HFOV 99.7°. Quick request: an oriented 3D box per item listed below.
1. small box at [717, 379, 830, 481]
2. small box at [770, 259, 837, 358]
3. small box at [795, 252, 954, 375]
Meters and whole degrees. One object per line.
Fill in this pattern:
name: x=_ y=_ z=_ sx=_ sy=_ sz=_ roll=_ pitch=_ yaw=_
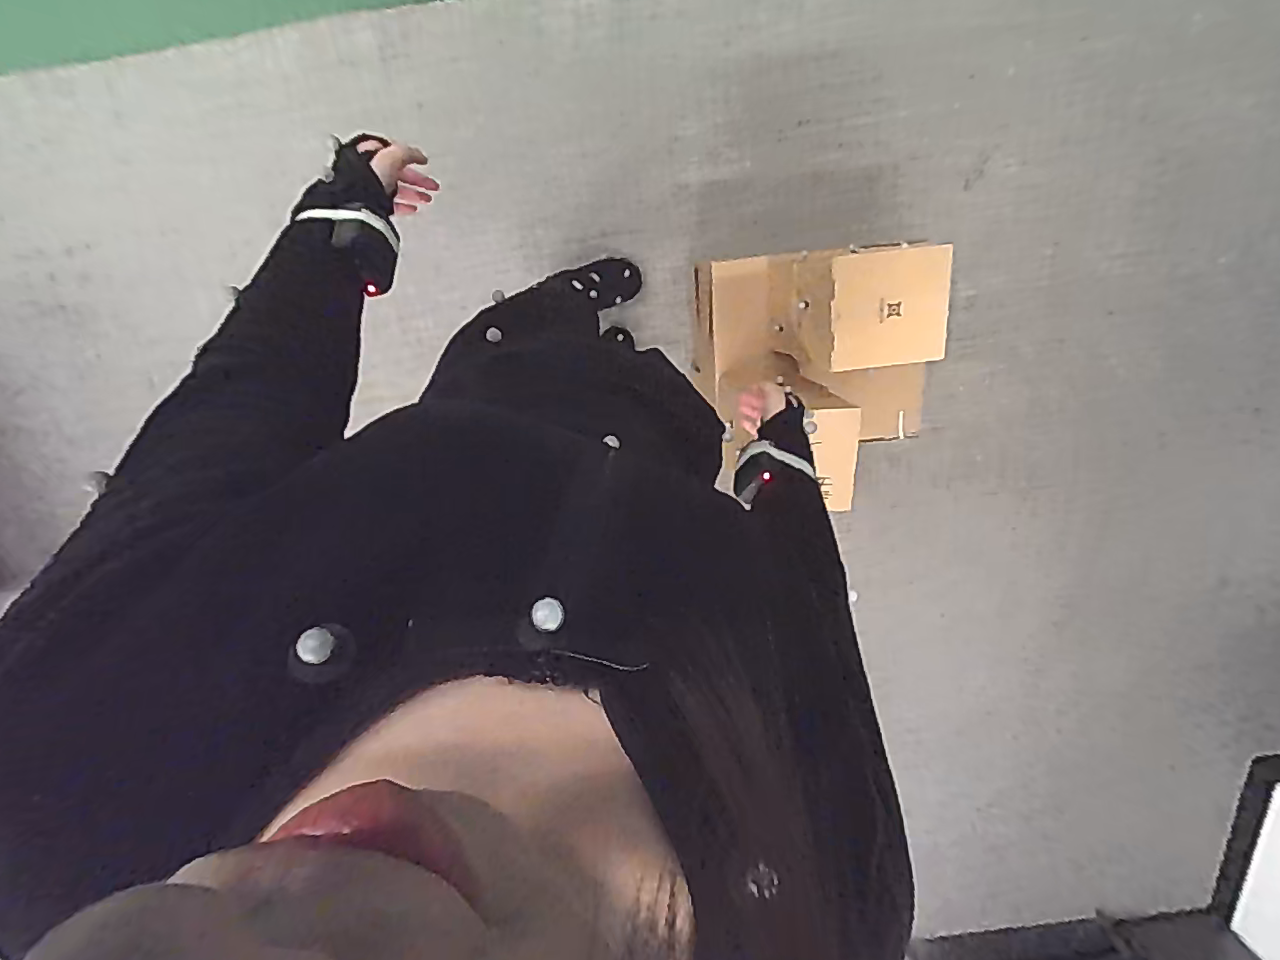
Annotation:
small box: x=0.259 y=-0.107 z=1.084 sx=0.179 sy=0.176 sz=0.168 roll=-4 pitch=109 yaw=-3
small box: x=0.351 y=-0.323 z=1.018 sx=0.179 sy=0.176 sz=0.168 roll=-5 pitch=109 yaw=-2
small box: x=0.363 y=-0.268 z=0.866 sx=0.179 sy=0.176 sz=0.168 roll=-6 pitch=109 yaw=-1
